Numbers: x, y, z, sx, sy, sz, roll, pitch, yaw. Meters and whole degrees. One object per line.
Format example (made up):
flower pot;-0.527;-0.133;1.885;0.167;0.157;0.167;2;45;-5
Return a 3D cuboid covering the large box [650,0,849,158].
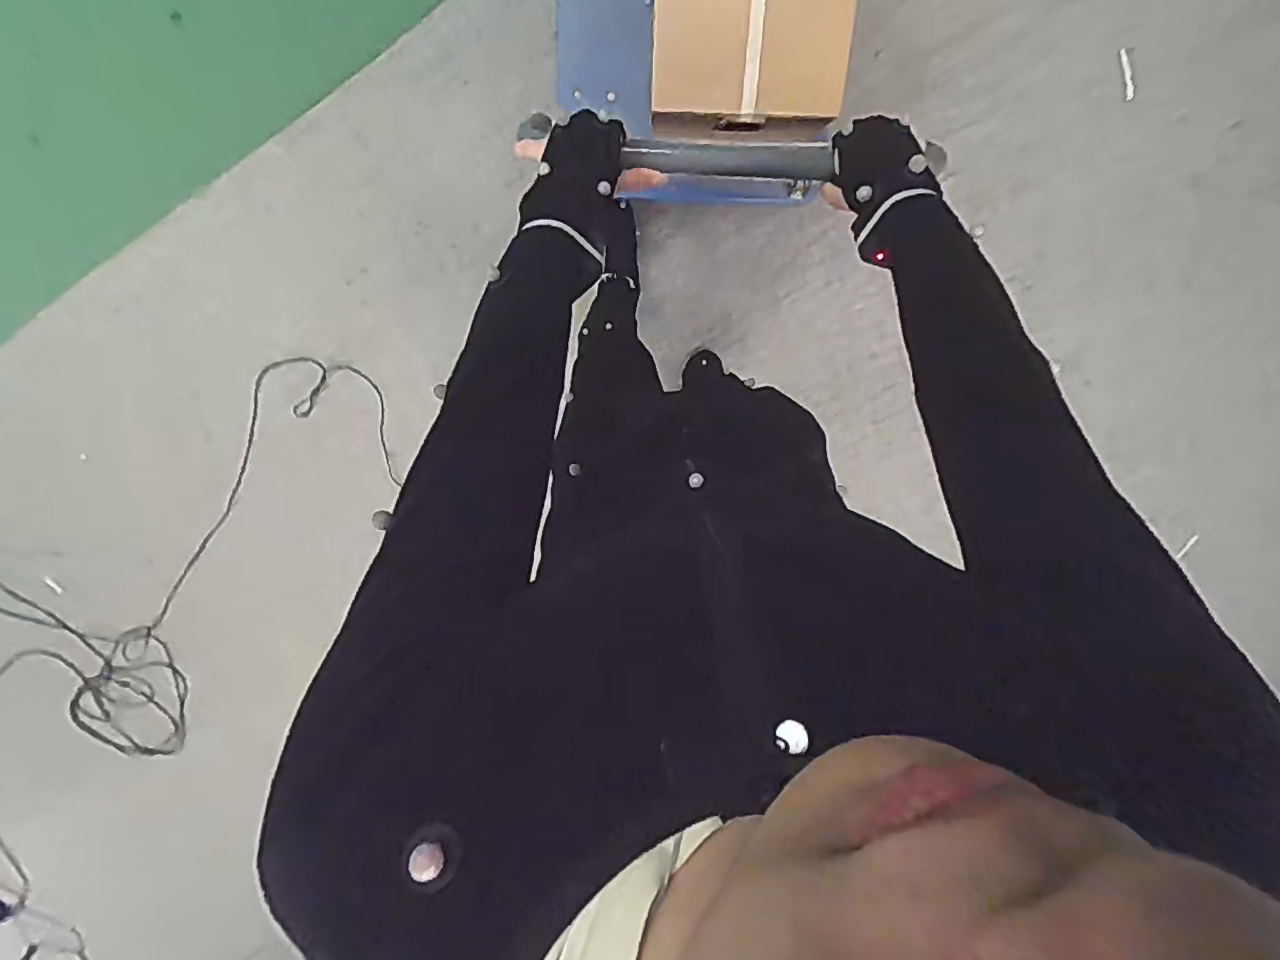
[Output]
large box;0.179;-0.840;0.980;0.320;0.320;0.408;2;112;-1
